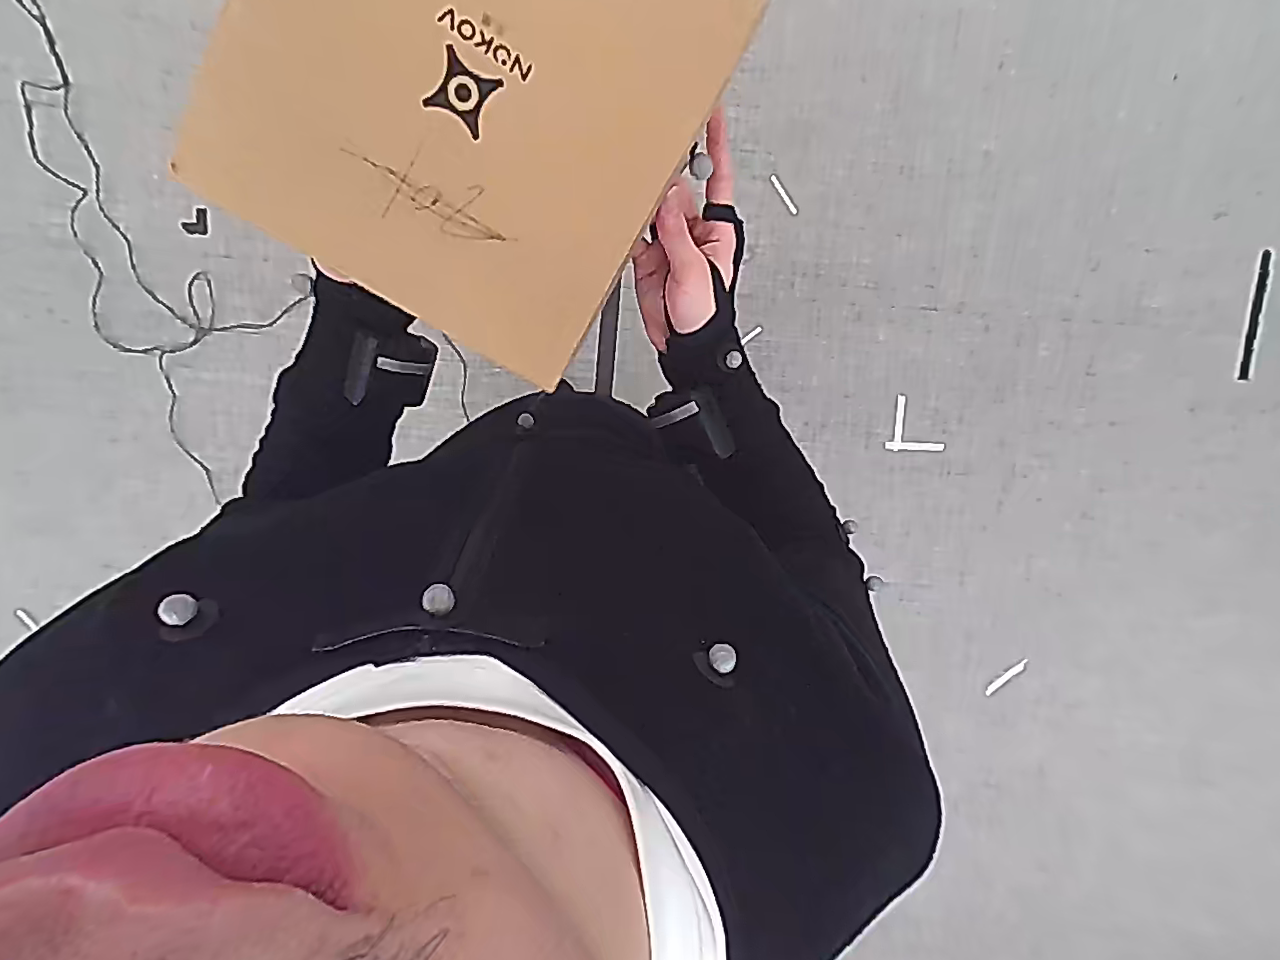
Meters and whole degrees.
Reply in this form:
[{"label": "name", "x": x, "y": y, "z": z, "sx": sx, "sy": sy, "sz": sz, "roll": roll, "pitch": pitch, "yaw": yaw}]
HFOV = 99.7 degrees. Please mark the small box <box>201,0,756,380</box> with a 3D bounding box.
[{"label": "small box", "x": -0.070, "y": -0.178, "z": 0.290, "sx": 0.168, "sy": 0.176, "sz": 0.179, "roll": 28, "pitch": 104, "yaw": -10}]
